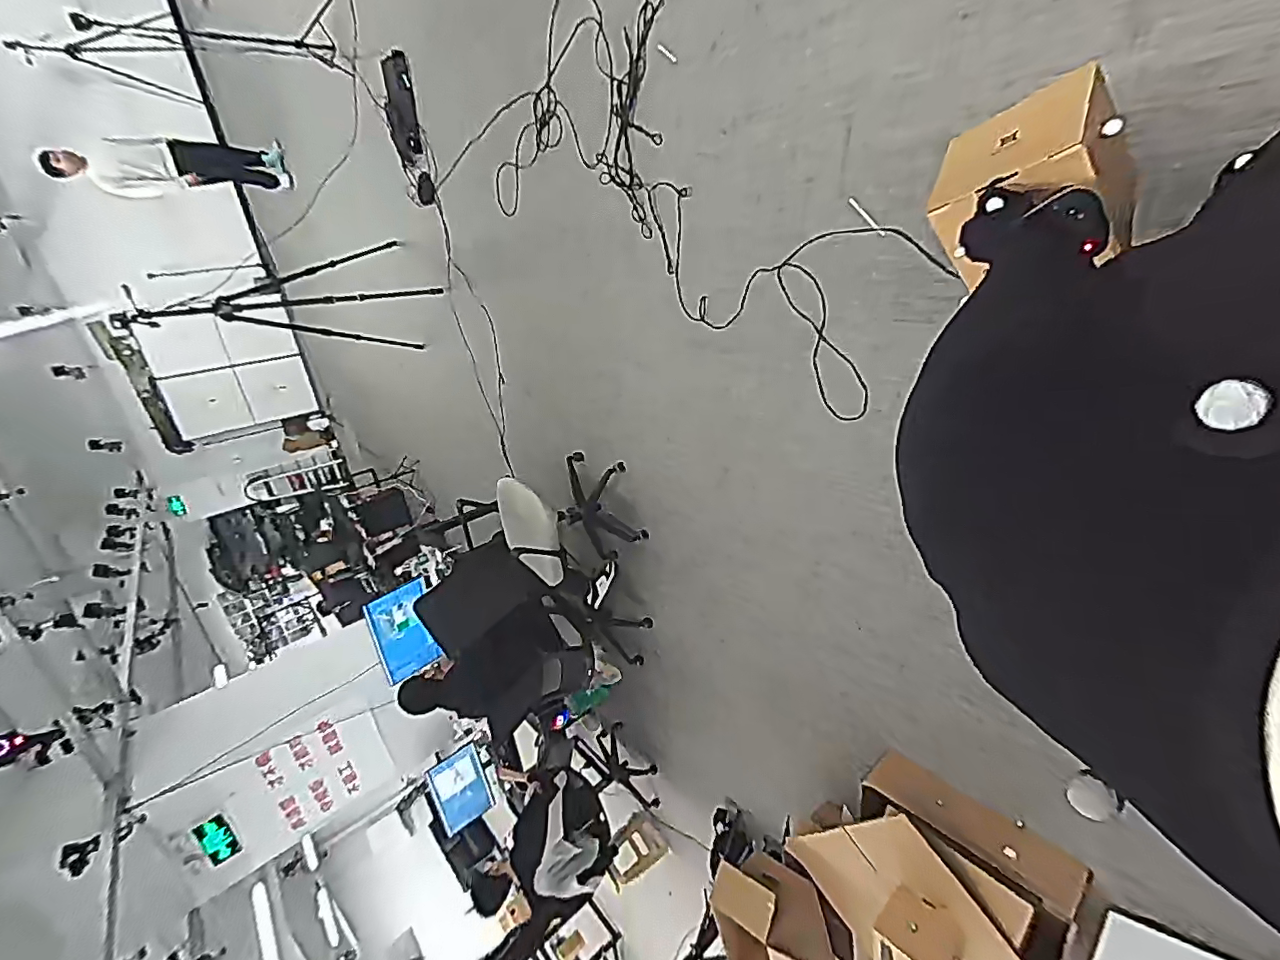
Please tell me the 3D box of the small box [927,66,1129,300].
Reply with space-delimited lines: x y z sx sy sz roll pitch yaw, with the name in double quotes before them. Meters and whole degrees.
"small box" 0.514 -0.376 0.713 0.176 0.179 0.168 39 154 -27
